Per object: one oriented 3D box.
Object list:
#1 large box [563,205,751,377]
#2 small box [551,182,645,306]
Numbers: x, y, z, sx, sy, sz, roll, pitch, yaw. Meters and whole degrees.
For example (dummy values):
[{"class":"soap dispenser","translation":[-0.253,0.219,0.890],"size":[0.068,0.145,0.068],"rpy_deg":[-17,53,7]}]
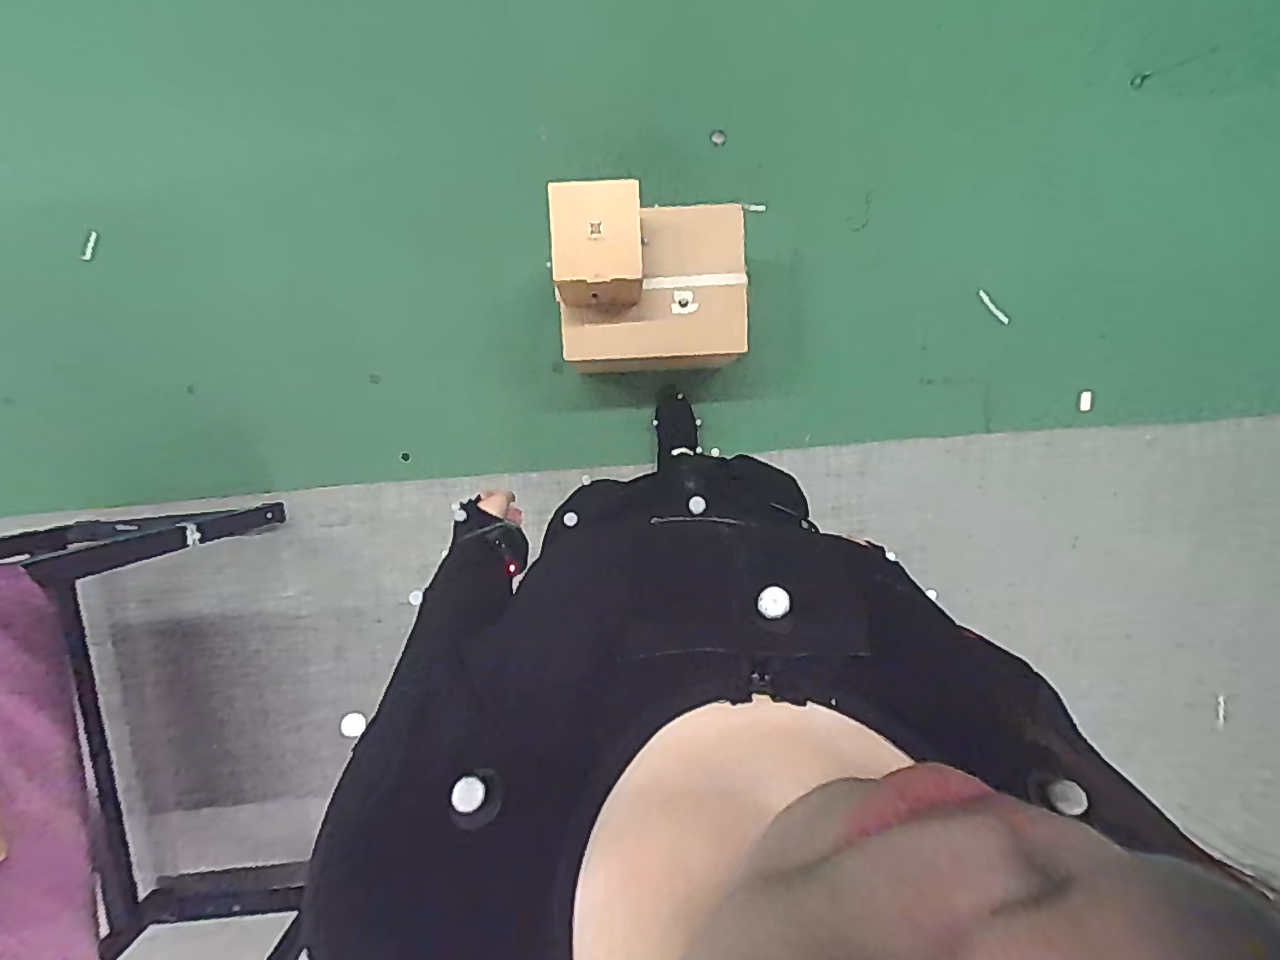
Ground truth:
[{"class":"large box","translation":[0.029,-0.427,1.296],"size":[0.408,0.320,0.320],"rpy_deg":[-3,96,-1]},{"class":"small box","translation":[-0.078,-0.448,1.048],"size":[0.168,0.176,0.179],"rpy_deg":[-3,95,-1]}]
